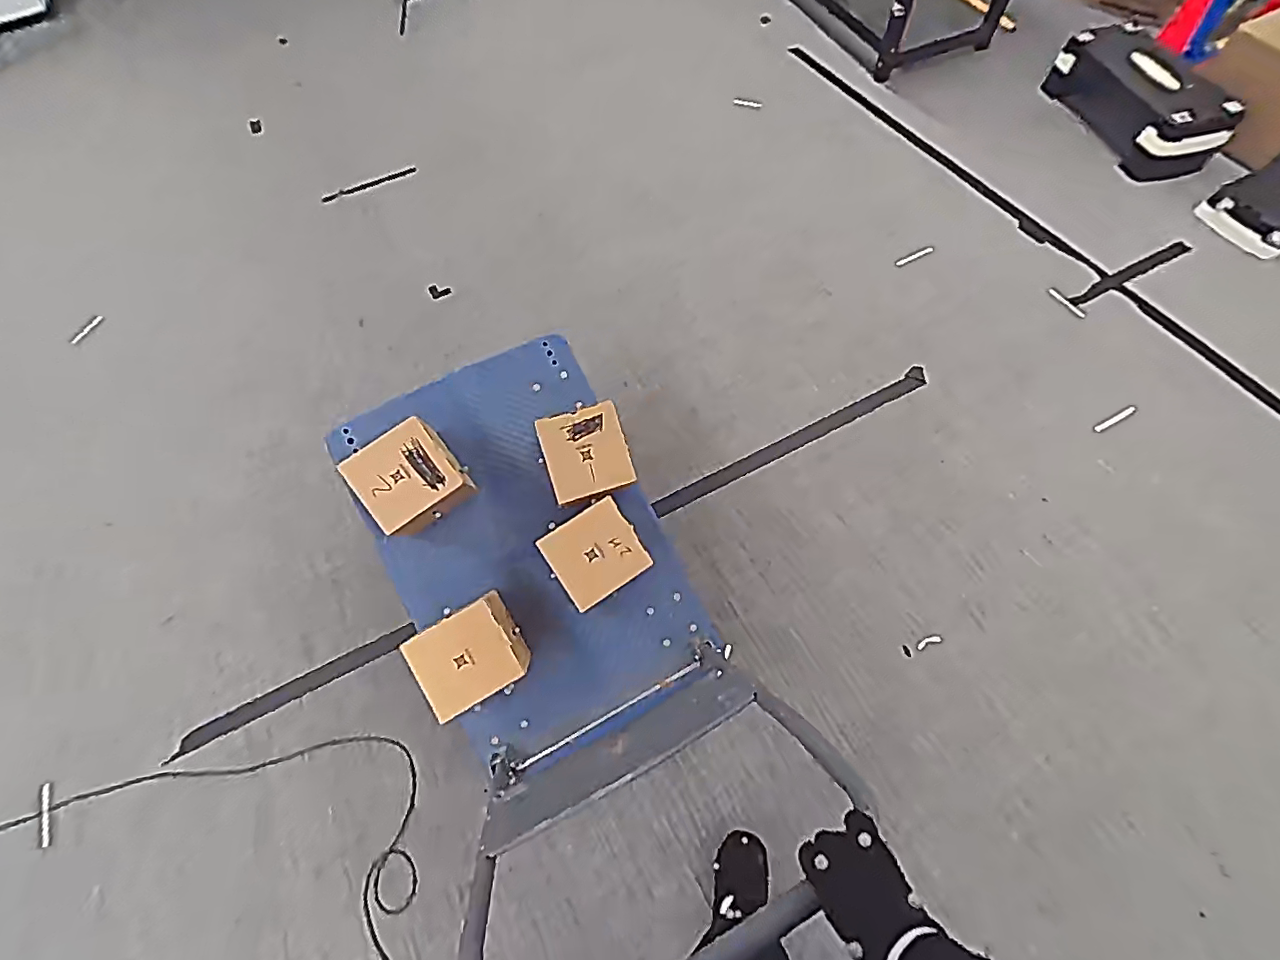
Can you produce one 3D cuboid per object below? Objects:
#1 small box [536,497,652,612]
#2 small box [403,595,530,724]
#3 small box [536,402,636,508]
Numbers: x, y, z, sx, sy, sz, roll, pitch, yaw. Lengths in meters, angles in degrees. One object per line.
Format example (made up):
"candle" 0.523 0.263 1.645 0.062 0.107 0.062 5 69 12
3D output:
"small box" -0.097 0.154 1.138 0.179 0.176 0.168 -33 89 -10
"small box" -0.336 0.349 1.085 0.179 0.176 0.168 -30 88 -11
"small box" -0.119 -0.047 1.160 0.168 0.176 0.179 -17 87 -9
